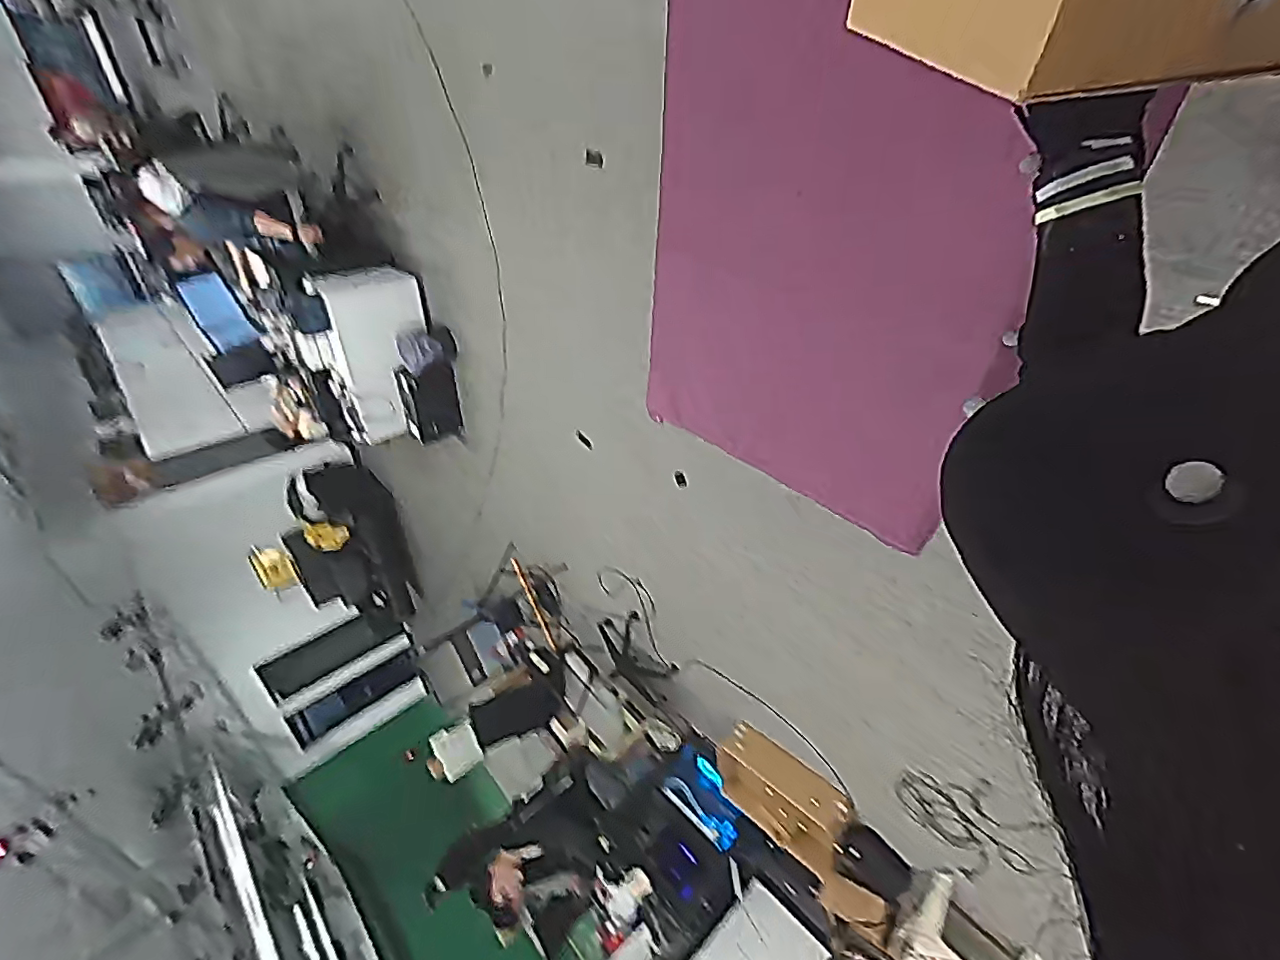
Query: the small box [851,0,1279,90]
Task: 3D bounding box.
[{"bbox_3d":[0.226,-0.297,0.229,0.176,0.179,0.168,88,171,-50],"label":"small box"}]
